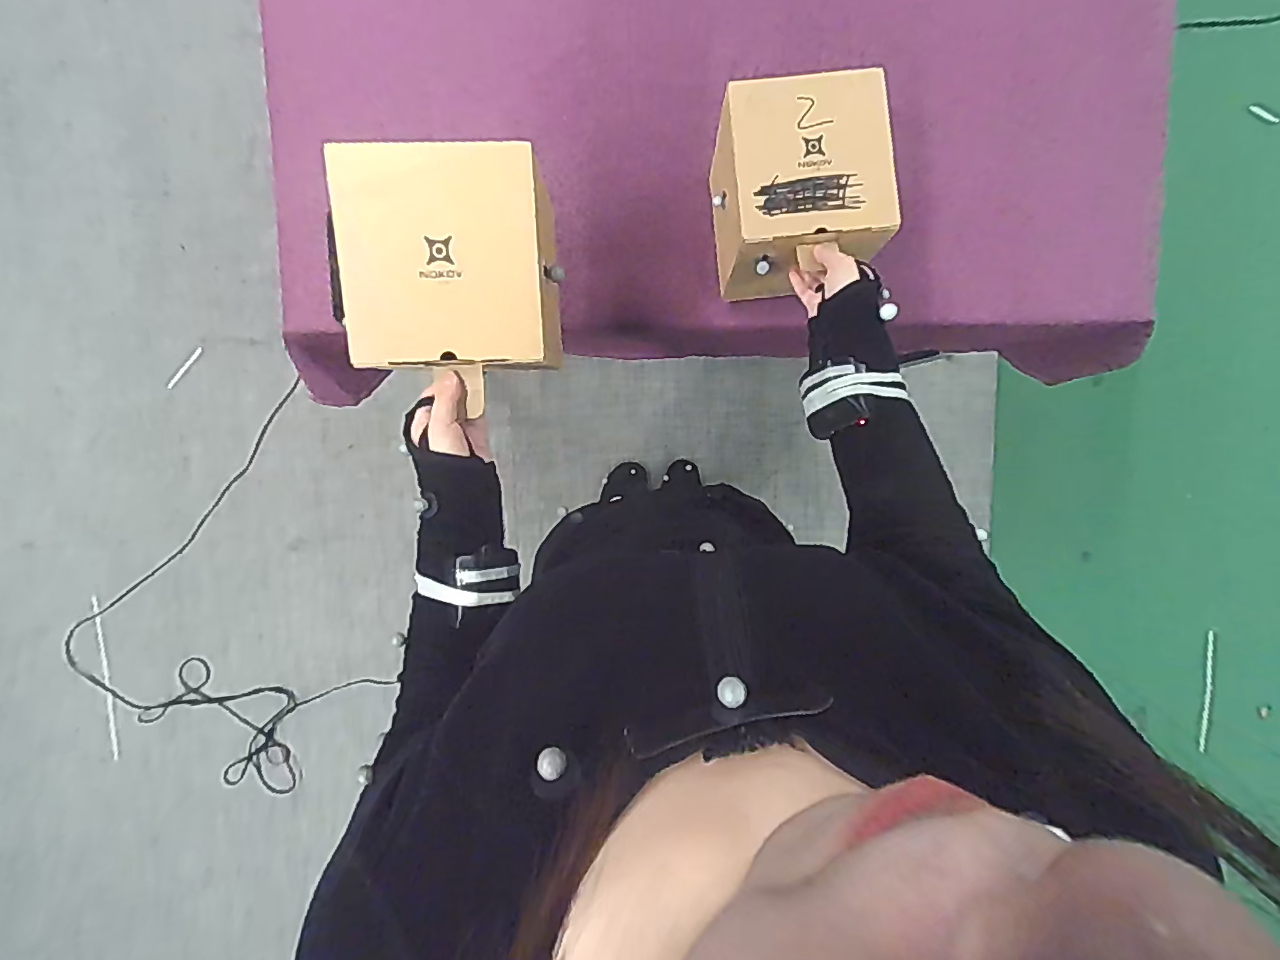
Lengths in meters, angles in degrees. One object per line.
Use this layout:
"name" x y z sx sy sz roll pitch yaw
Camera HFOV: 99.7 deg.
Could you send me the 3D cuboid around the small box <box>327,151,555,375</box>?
"small box" -0.176 -0.196 0.534 0.168 0.176 0.179 -2 101 -3
